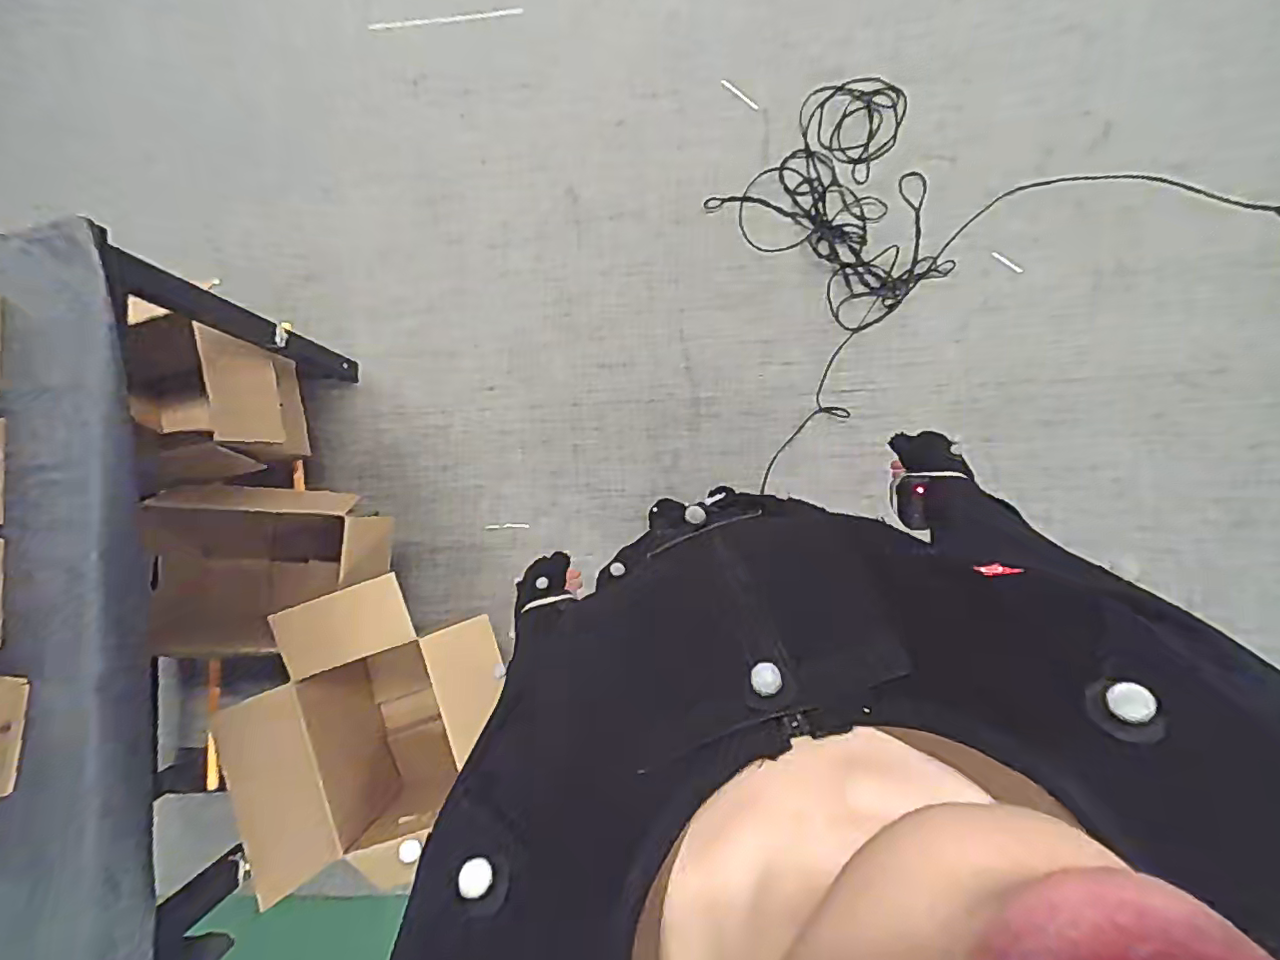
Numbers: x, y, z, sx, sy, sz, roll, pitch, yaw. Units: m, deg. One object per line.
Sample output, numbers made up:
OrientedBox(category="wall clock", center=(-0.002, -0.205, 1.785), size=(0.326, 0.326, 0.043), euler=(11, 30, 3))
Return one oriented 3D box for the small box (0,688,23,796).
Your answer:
OrientedBox(category="small box", center=(-1.003, 0.373, 0.712), size=(0.179, 0.176, 0.168), euler=(5, 85, 3))
